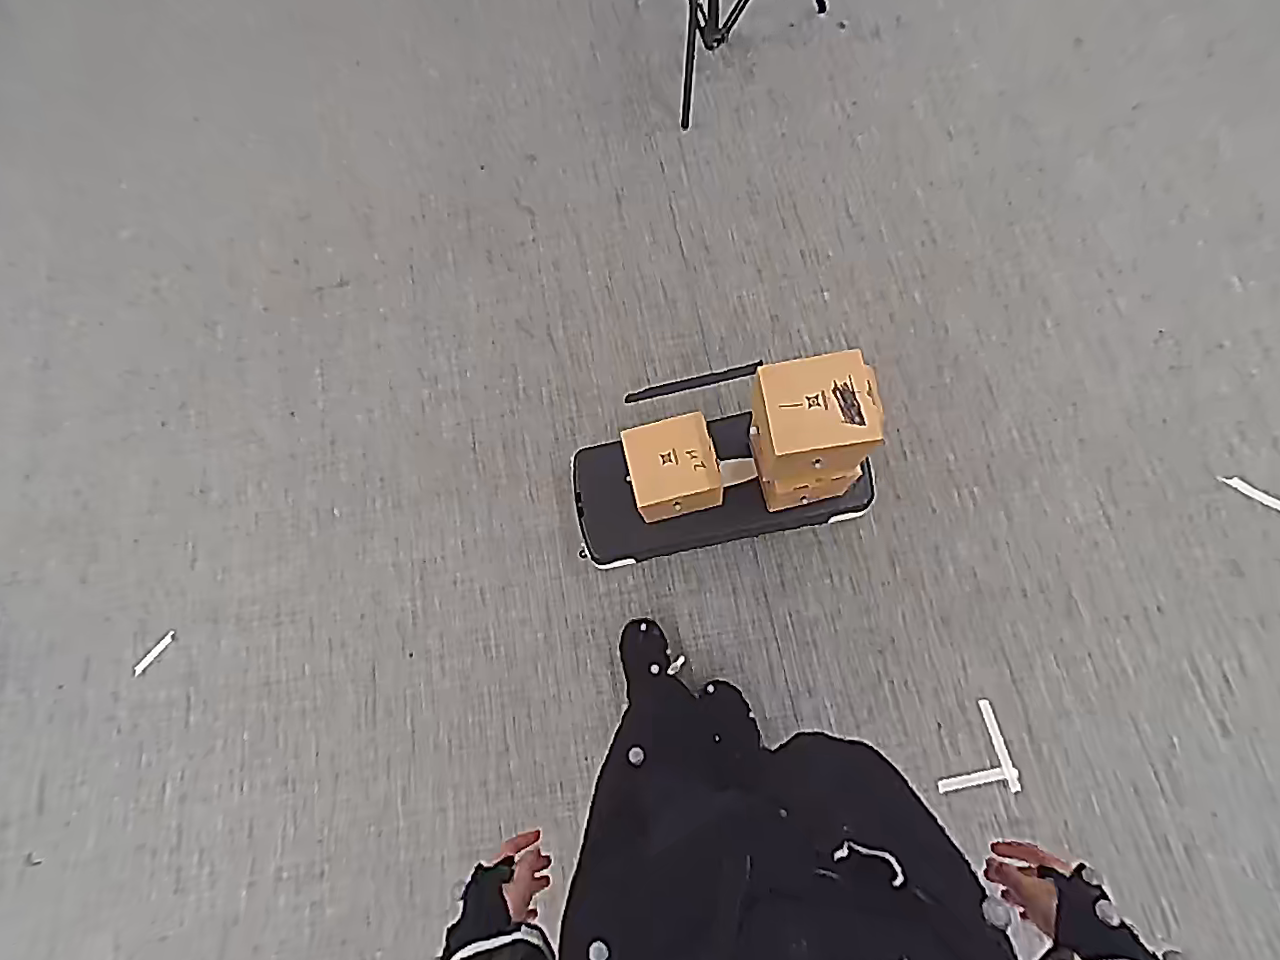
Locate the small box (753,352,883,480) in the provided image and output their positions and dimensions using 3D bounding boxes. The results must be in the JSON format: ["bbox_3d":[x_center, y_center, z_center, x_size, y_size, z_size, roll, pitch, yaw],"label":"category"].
[{"bbox_3d":[0.307,-0.107,0.970,0.179,0.176,0.168,-9,74,6],"label":"small box"}]

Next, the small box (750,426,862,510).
[{"bbox_3d":[0.333,-0.052,1.124,0.168,0.176,0.179,-14,74,3],"label":"small box"}]
